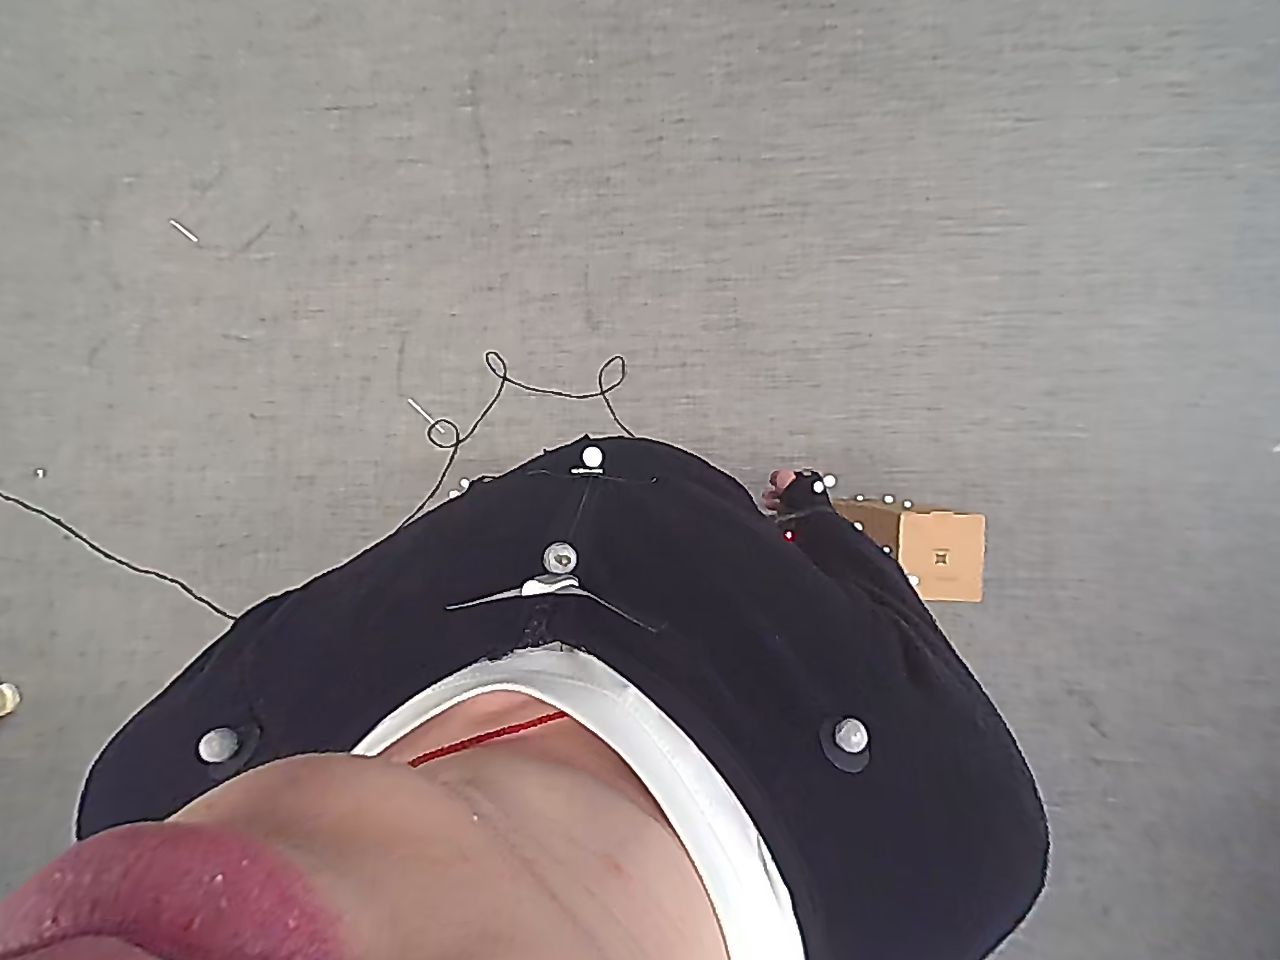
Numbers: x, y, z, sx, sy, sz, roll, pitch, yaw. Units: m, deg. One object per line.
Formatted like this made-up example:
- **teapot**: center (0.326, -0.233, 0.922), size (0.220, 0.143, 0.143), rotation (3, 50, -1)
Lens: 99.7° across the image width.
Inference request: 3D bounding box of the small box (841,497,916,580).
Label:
- **small box**: center (0.604, 0.142, 1.319), size (0.168, 0.176, 0.179), rotation (2, 94, -1)

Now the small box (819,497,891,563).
- **small box**: center (0.605, 0.136, 1.505), size (0.179, 0.176, 0.168), rotation (-2, 93, 0)

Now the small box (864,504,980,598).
- **small box**: center (0.595, 0.144, 1.160), size (0.168, 0.176, 0.179), rotation (0, 95, 1)
